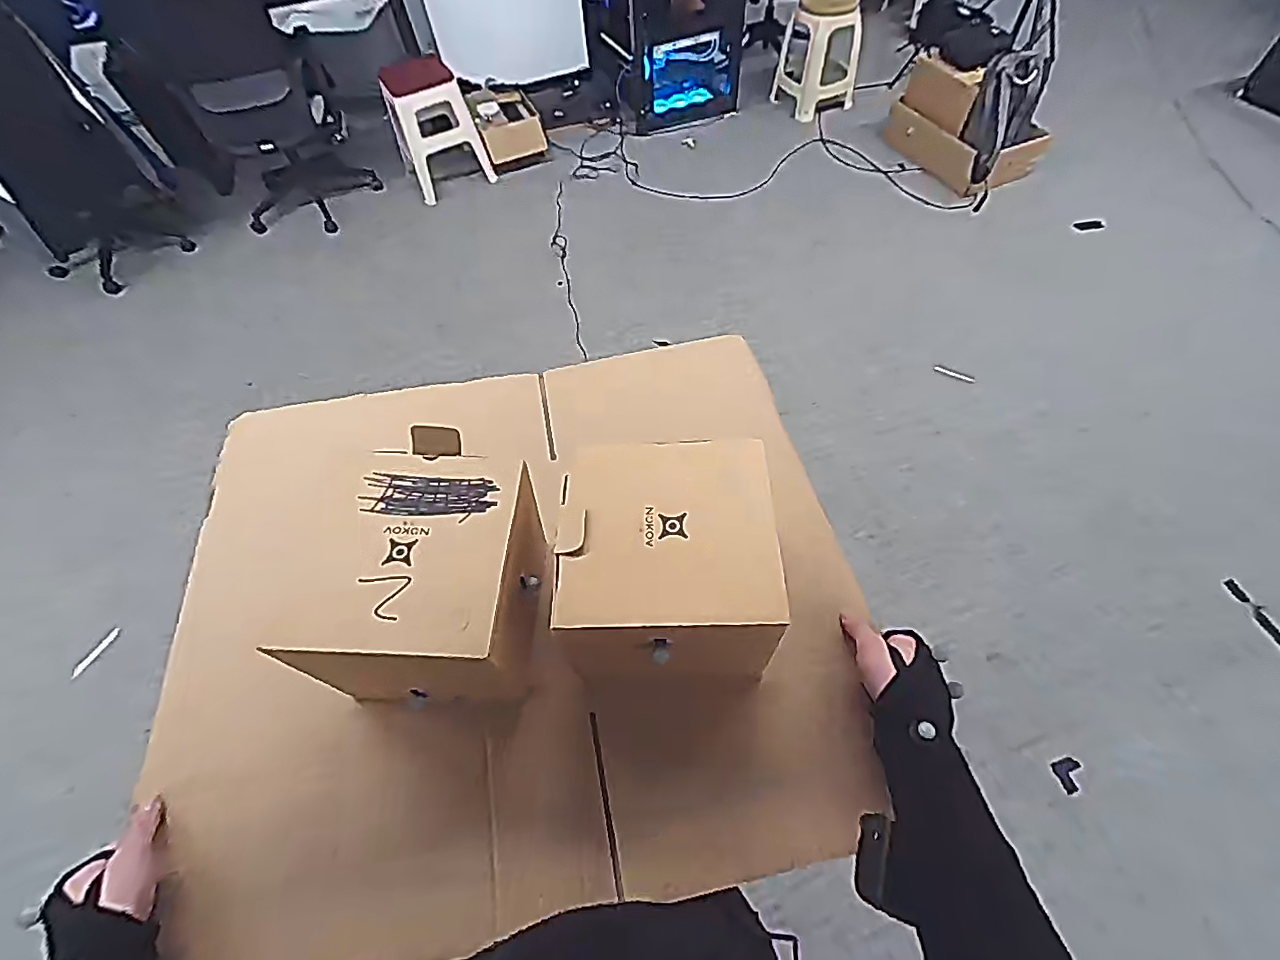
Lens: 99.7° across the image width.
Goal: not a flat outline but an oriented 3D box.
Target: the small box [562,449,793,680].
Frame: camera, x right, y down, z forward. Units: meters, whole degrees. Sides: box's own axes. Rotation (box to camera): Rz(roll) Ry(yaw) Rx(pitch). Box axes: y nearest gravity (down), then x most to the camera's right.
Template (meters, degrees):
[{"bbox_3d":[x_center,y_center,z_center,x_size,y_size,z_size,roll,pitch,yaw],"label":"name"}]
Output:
[{"bbox_3d":[0.034,0.087,0.513,0.179,0.176,0.168,-3,58,4],"label":"small box"}]
